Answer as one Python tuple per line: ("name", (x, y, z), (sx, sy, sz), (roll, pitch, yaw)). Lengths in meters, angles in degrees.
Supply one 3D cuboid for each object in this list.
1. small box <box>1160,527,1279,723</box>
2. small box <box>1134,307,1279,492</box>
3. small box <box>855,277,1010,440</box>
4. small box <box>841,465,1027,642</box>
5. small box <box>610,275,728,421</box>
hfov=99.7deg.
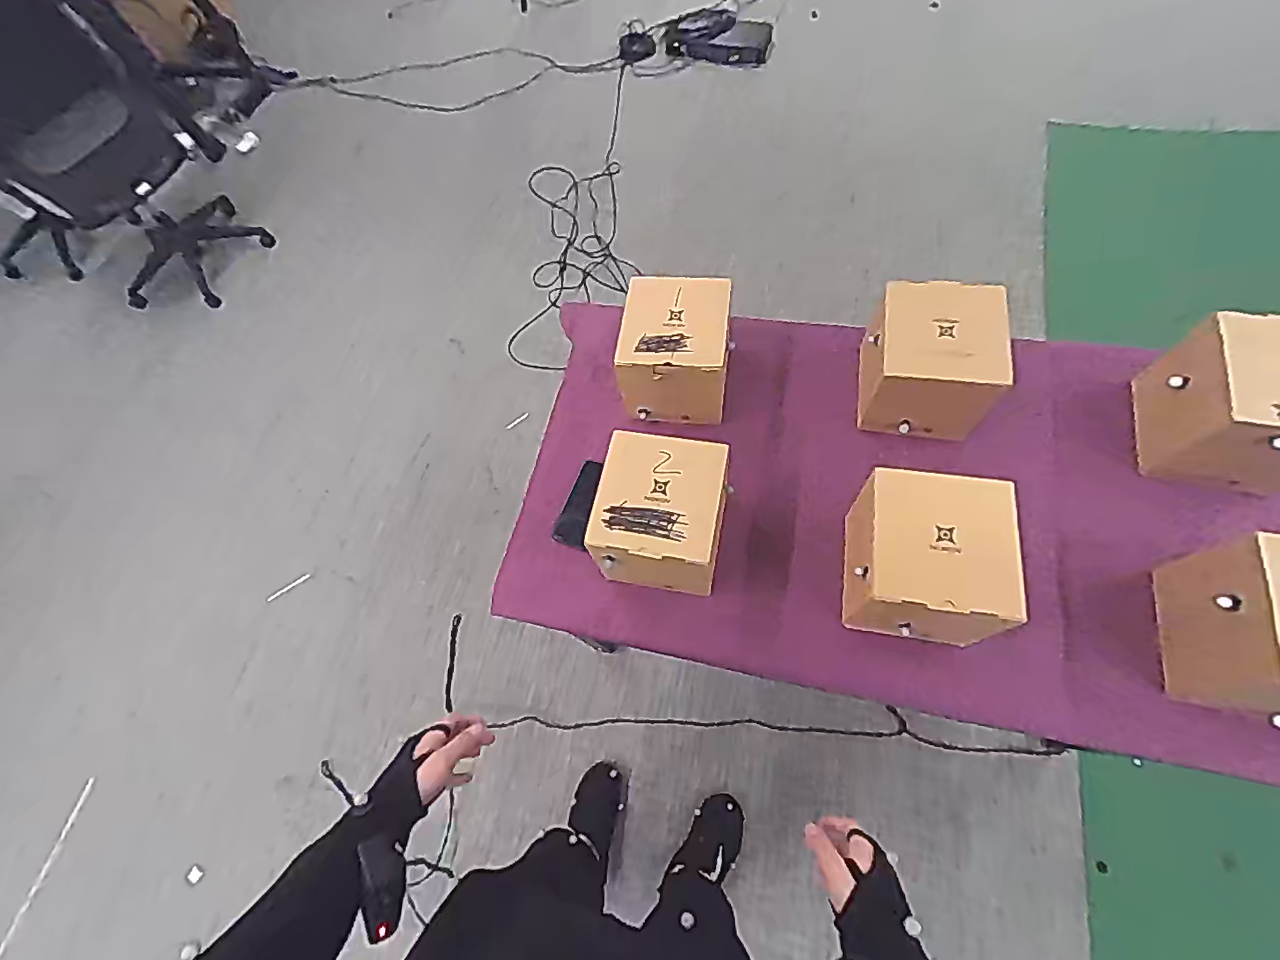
("small box", (0.753, 0.176, 0.622), (0.168, 0.176, 0.179), (10, 67, 14))
("small box", (0.832, -0.106, 0.745), (0.168, 0.176, 0.179), (11, 67, 13))
("small box", (0.439, -0.184, 0.836), (0.168, 0.176, 0.179), (7, 67, 12))
("small box", (0.370, 0.101, 0.714), (0.168, 0.176, 0.179), (7, 66, 10))
("small box", (0.057, -0.214, 0.900), (0.168, 0.176, 0.179), (5, 65, 9))
